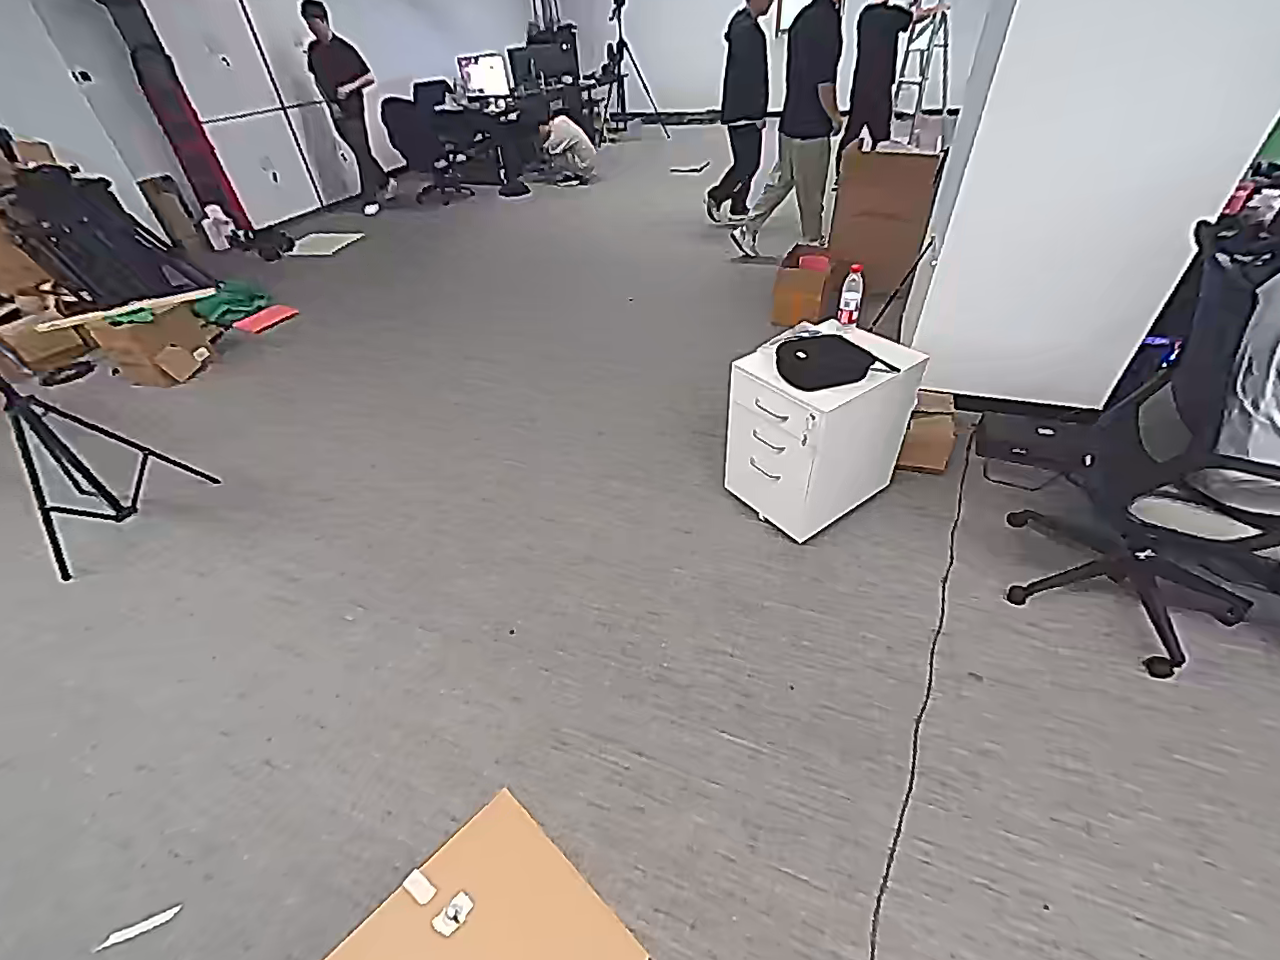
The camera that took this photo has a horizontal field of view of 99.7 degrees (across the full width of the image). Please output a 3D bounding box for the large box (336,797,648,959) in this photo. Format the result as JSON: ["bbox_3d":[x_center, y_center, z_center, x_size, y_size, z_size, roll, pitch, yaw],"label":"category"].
[{"bbox_3d":[-0.161,0.736,0.724,0.320,0.408,0.320,-35,36,-31],"label":"large box"}]
